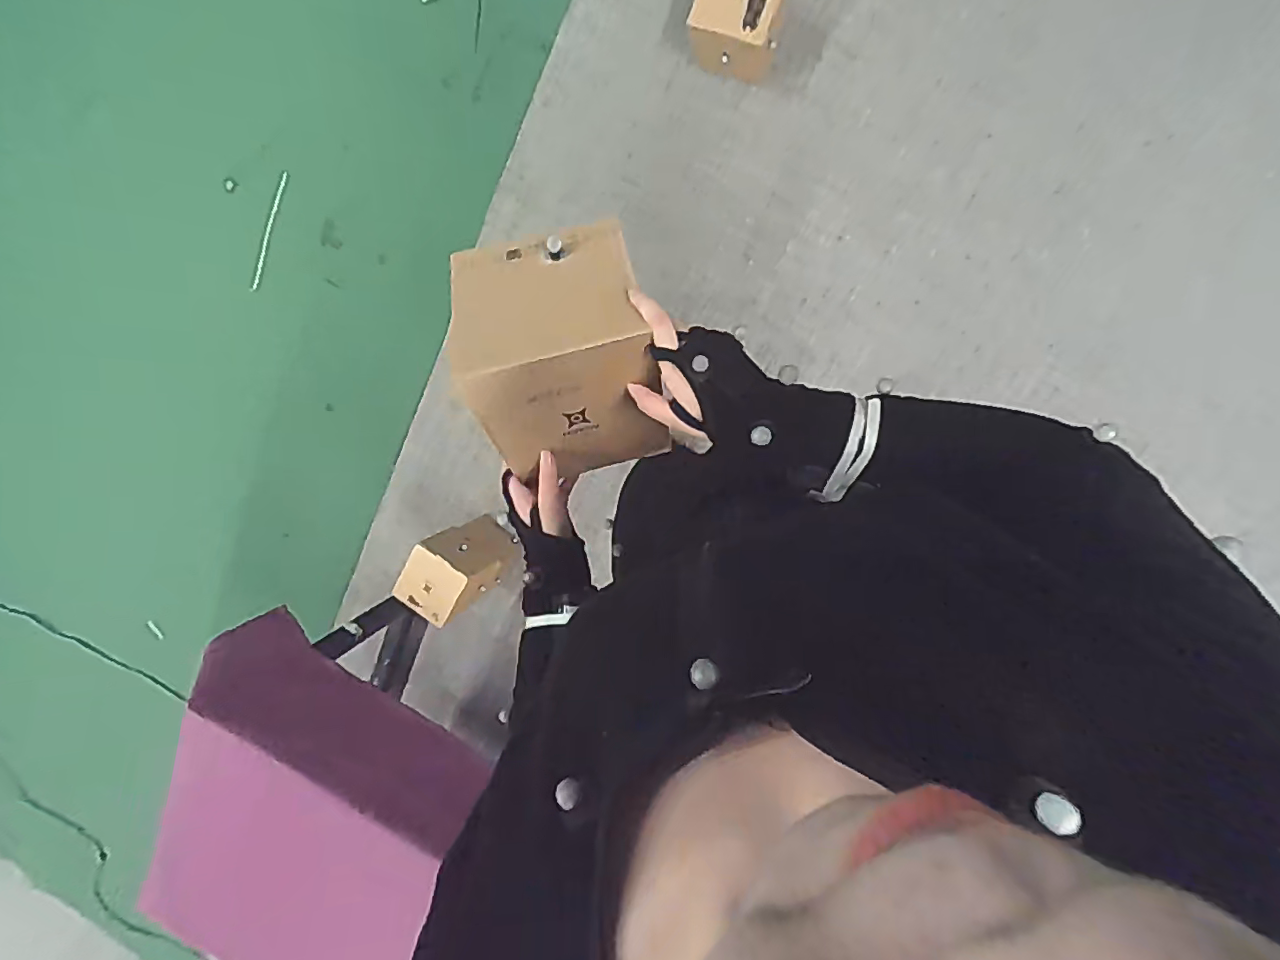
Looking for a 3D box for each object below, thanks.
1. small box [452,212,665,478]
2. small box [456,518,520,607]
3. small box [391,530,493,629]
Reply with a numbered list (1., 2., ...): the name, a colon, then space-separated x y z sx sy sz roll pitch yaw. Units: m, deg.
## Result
1. small box: -0.075 -0.129 0.543 0.168 0.179 0.176 -13 58 0
2. small box: -0.484 0.237 1.612 0.168 0.176 0.179 38 107 4
3. small box: -0.521 0.258 1.453 0.168 0.176 0.179 34 105 5
